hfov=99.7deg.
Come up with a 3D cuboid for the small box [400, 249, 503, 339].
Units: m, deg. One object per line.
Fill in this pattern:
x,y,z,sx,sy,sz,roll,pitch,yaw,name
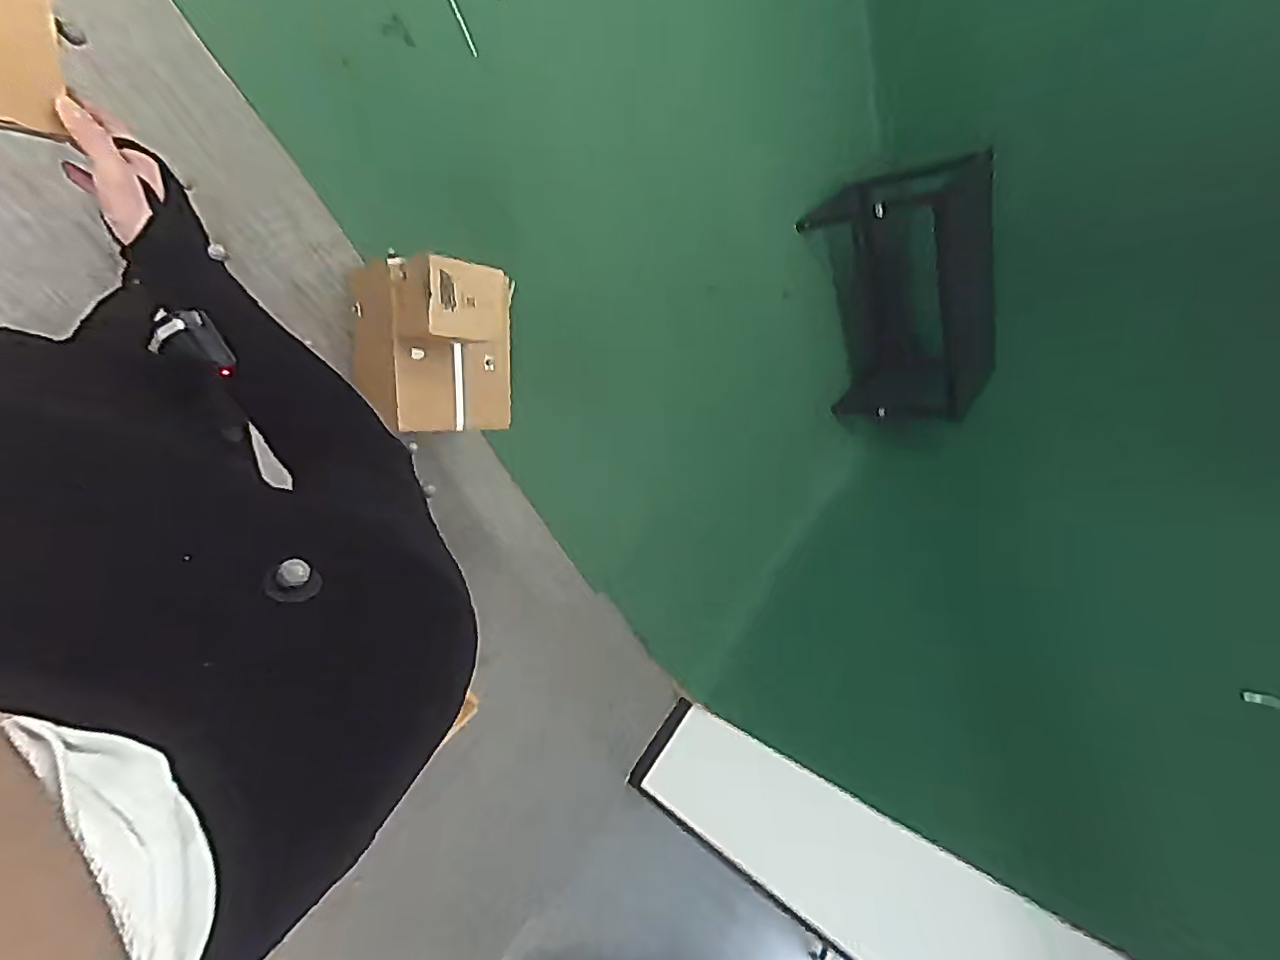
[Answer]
-0.440,-0.420,1.252,0.179,0.176,0.168,-4,104,-44,small box
